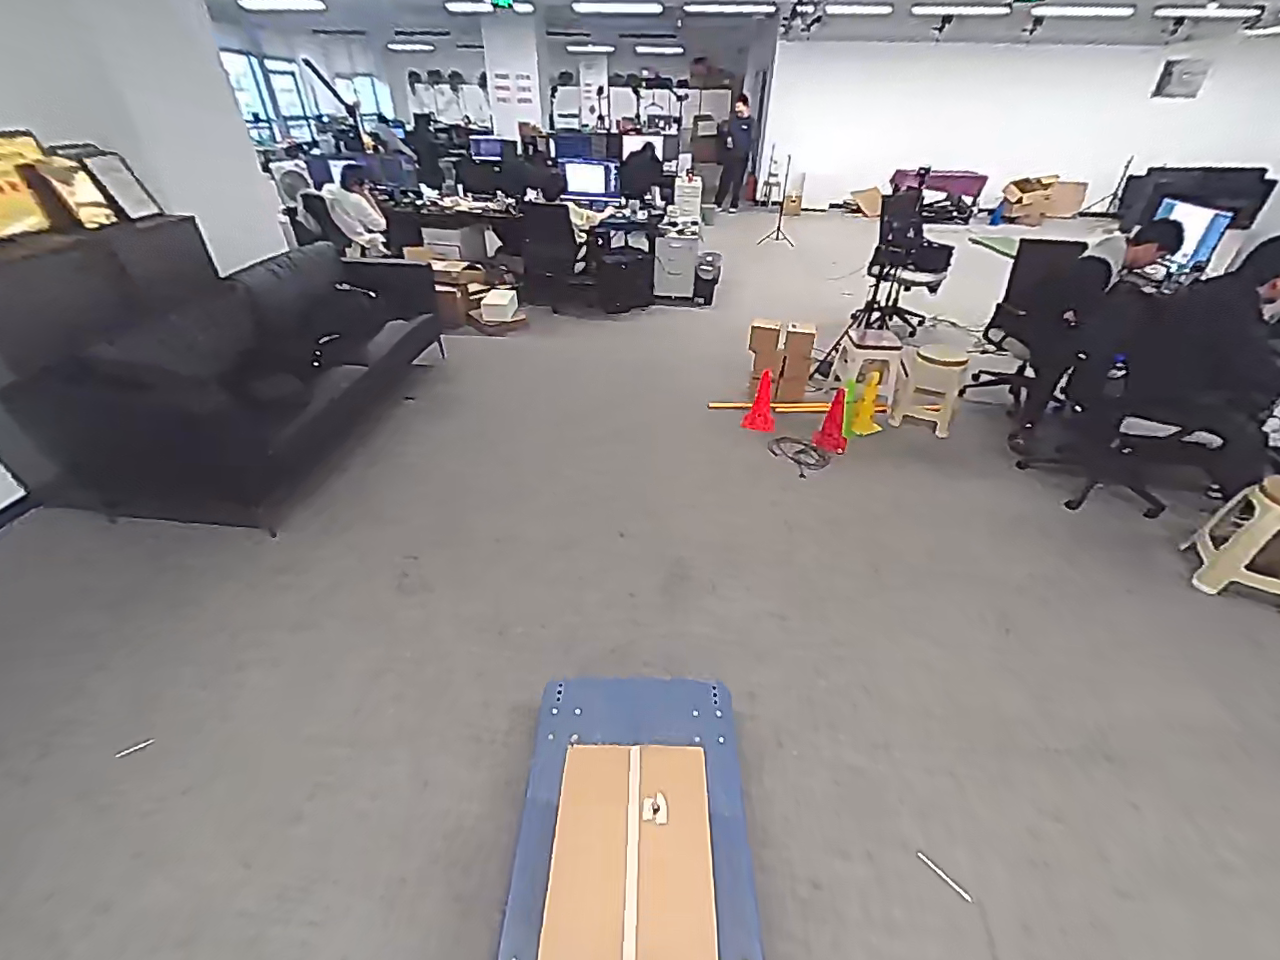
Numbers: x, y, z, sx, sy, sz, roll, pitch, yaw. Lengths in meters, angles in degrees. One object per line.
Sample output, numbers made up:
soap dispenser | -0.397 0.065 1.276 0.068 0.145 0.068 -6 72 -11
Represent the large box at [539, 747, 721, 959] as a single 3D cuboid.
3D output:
large box | -0.014 0.844 1.143 0.320 0.320 0.408 1 34 1
